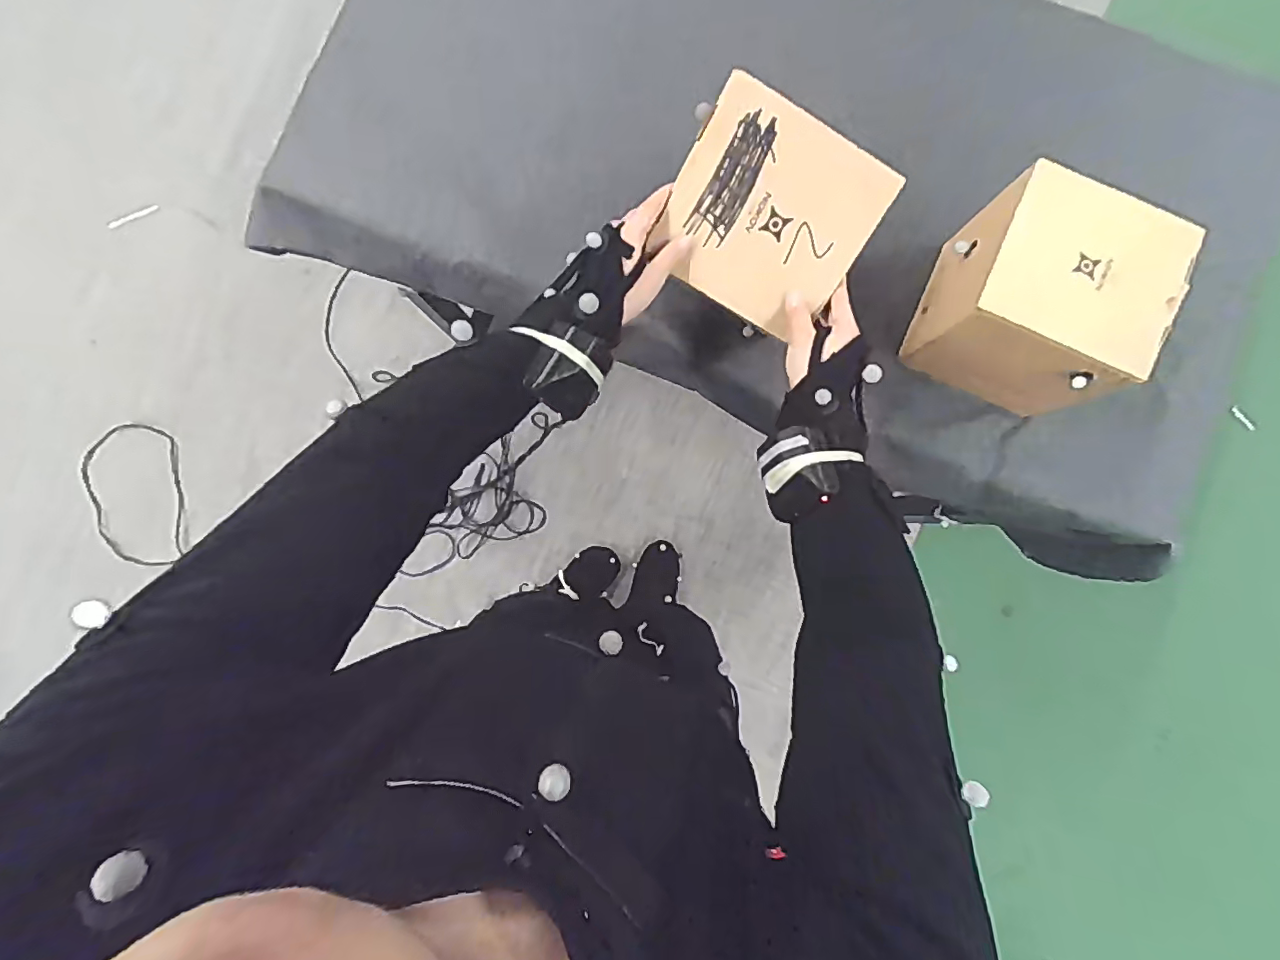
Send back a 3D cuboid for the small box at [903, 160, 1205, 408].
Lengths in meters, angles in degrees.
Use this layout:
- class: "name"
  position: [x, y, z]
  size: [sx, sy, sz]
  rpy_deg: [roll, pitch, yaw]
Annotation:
- class: "small box"
  position: [0.426, -0.194, 0.590]
  size: [0.179, 0.176, 0.168]
  rpy_deg: [24, 86, 1]
